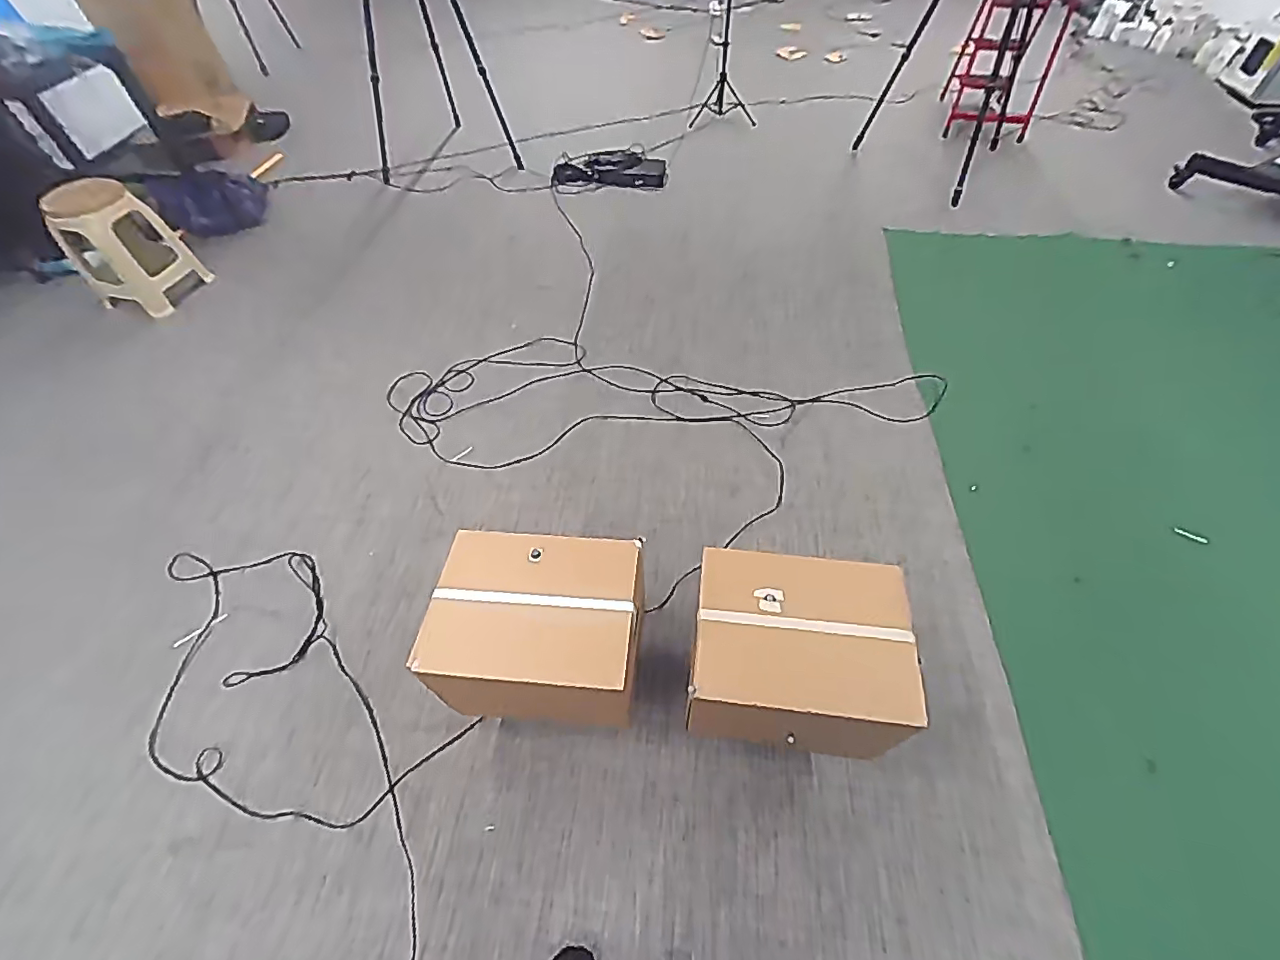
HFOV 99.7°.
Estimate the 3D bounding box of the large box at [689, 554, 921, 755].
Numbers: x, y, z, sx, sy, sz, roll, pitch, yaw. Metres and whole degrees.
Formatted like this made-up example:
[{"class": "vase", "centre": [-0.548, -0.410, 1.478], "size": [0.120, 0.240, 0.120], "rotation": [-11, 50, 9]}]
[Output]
[{"class": "large box", "centre": [0.321, 0.381, 1.167], "size": [0.408, 0.320, 0.320], "rotation": [5, 53, 6]}]
